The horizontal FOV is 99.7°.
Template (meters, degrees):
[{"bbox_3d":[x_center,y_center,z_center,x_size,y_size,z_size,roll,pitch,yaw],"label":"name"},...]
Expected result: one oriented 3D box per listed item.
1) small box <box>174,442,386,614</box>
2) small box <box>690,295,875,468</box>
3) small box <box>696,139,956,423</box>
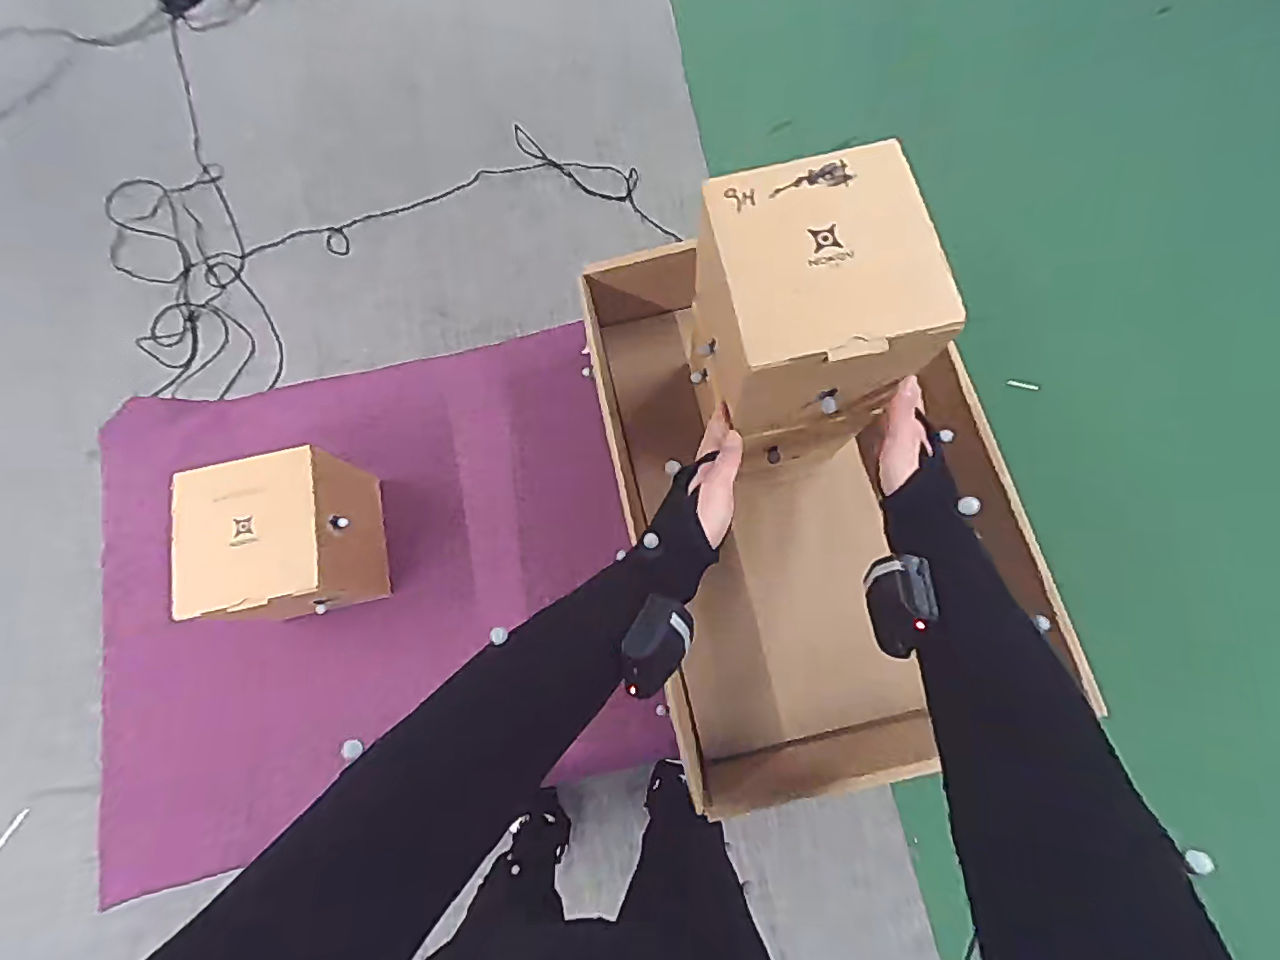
[{"bbox_3d":[-0.448,0.069,0.697,0.168,0.176,0.179,-11,76,-1],"label":"small box"},{"bbox_3d":[0.158,-0.121,0.658,0.168,0.176,0.179,-11,76,2],"label":"small box"},{"bbox_3d":[0.148,-0.162,0.500,0.168,0.176,0.179,-11,77,2],"label":"small box"}]
